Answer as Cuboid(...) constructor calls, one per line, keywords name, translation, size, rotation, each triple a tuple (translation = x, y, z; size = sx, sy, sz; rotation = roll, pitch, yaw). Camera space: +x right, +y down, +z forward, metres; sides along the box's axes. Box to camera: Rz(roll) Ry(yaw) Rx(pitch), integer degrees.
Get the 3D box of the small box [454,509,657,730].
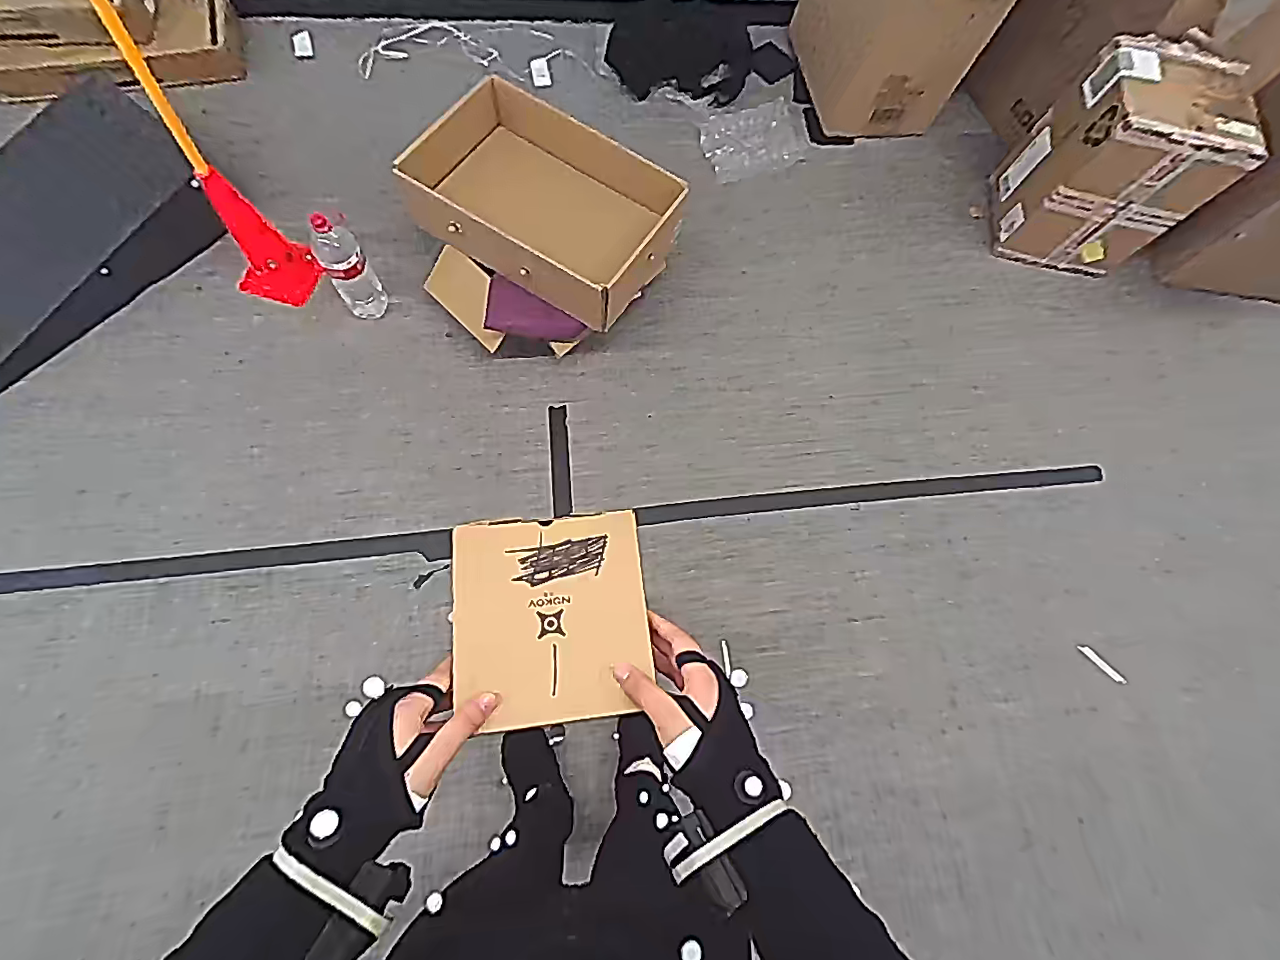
Cuboid(name="small box", translation=(-0.084, 0.145, 0.540), size=(0.168, 0.176, 0.179), rotation=(-6, 67, -8))
